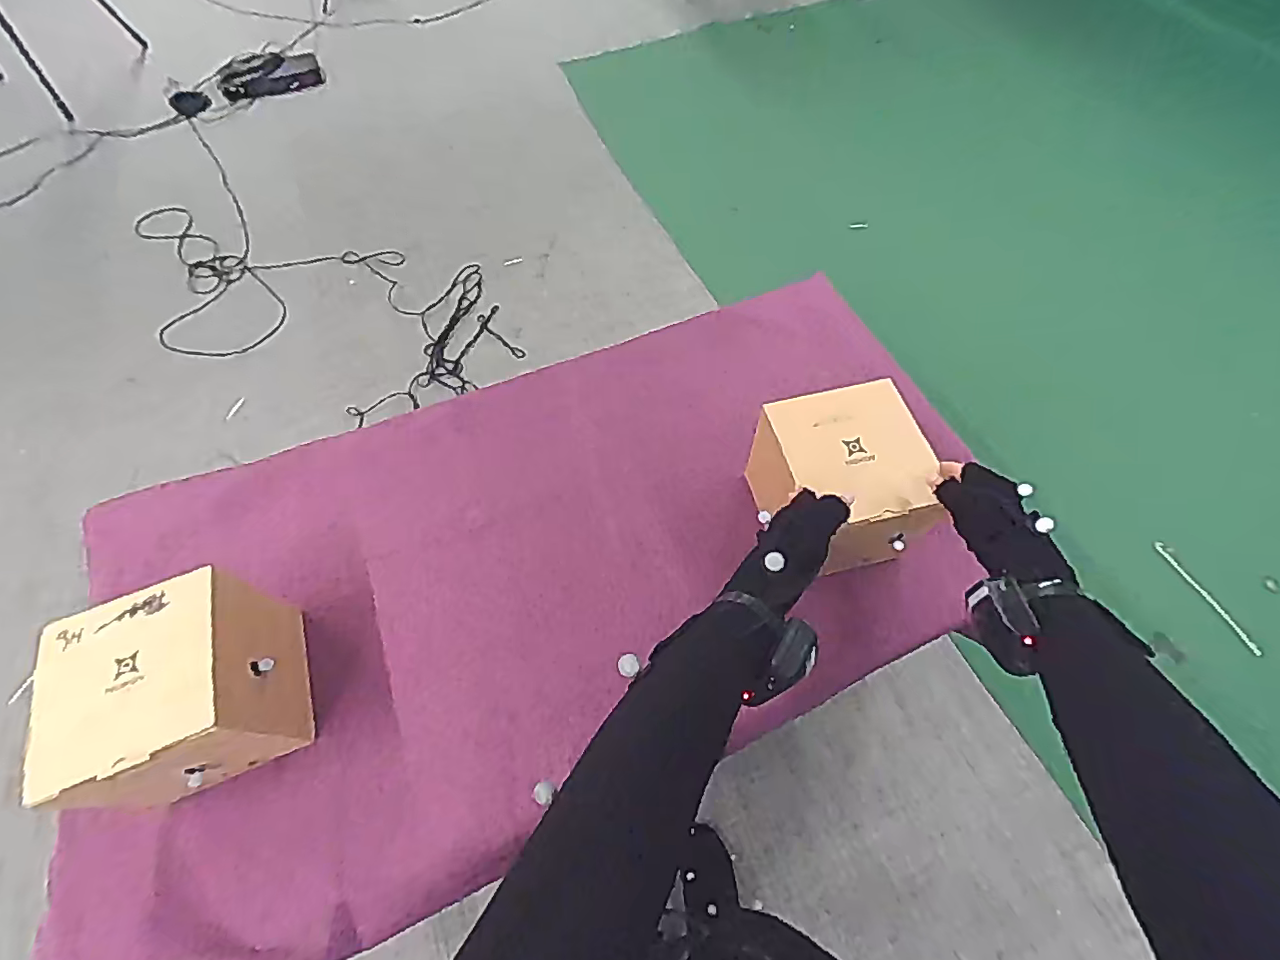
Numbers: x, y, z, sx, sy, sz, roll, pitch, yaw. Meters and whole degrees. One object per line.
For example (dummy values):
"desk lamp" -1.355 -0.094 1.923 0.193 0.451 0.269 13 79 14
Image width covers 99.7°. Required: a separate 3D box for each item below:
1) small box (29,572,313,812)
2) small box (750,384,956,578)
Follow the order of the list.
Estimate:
"small box" -0.488 0.231 0.592 0.168 0.176 0.179 -21 62 -10
"small box" 0.248 0.011 0.682 0.168 0.176 0.179 -12 60 -4
